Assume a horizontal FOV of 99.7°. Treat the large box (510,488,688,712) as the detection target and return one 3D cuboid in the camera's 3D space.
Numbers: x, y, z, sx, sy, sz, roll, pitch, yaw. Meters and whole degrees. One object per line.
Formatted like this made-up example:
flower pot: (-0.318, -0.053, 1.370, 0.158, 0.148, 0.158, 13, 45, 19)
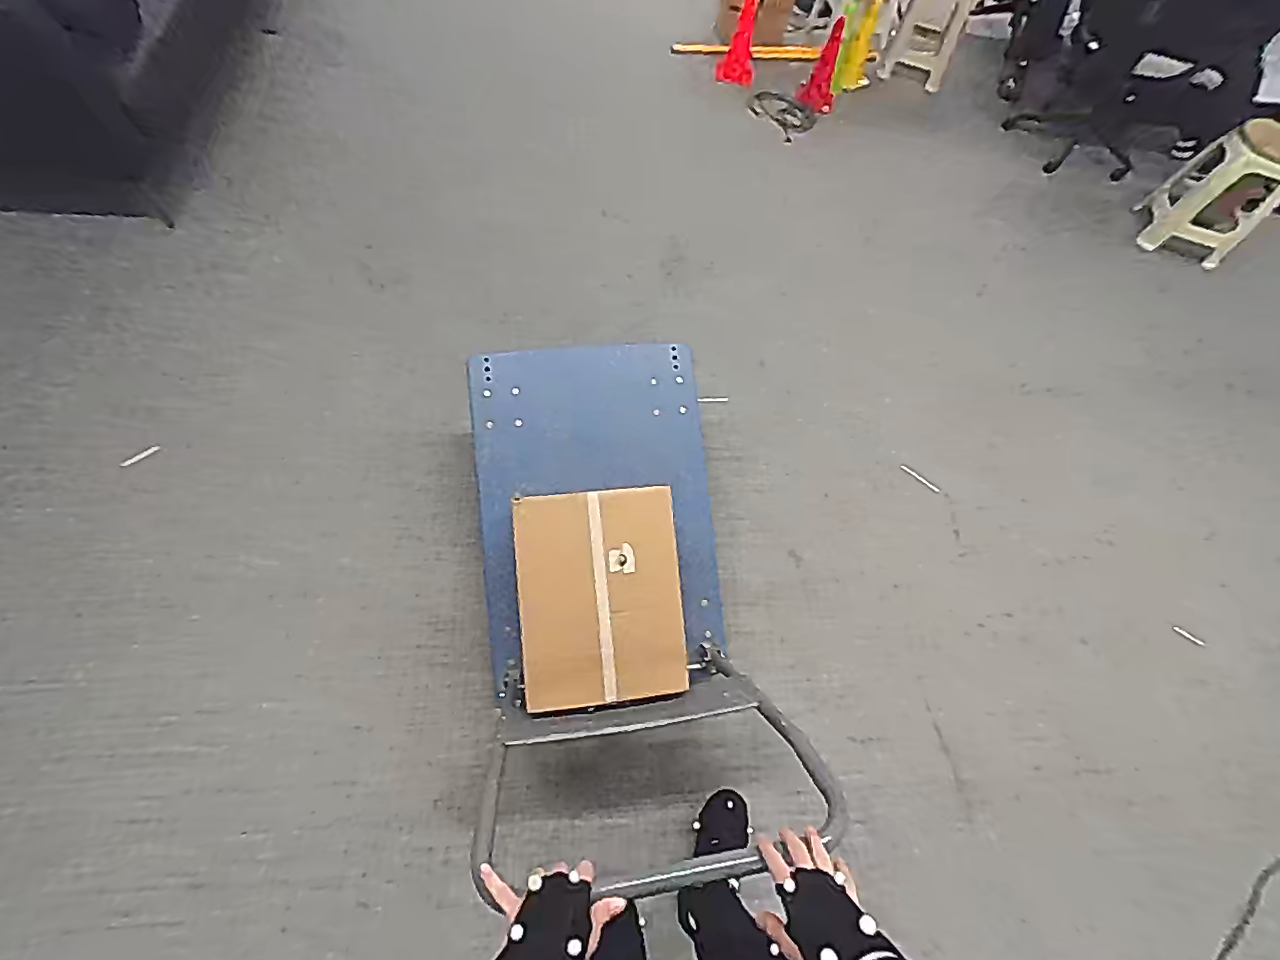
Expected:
large box: (-0.098, 0.243, 1.196, 0.320, 0.320, 0.408, -5, 85, -9)
